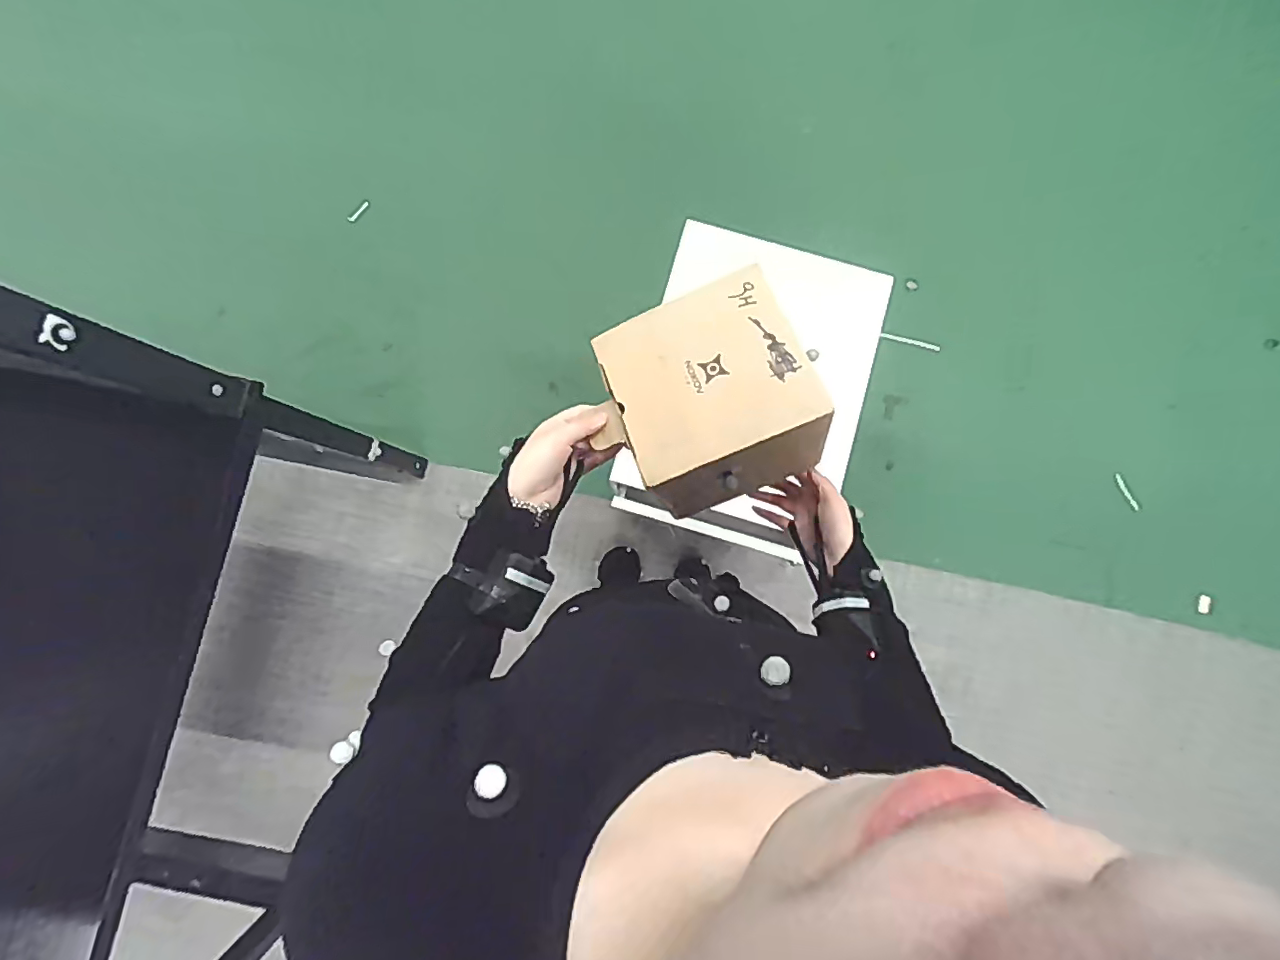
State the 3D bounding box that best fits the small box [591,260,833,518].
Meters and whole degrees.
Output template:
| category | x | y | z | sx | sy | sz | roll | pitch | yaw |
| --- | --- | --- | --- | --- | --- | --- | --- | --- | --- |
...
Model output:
| category | x | y | z | sx | sy | sz | roll | pitch | yaw |
| --- | --- | --- | --- | --- | --- | --- | --- | --- | --- |
| small box | 0.077 | -0.075 | 0.549 | 0.179 | 0.176 | 0.168 | -24 | 71 | 9 |
